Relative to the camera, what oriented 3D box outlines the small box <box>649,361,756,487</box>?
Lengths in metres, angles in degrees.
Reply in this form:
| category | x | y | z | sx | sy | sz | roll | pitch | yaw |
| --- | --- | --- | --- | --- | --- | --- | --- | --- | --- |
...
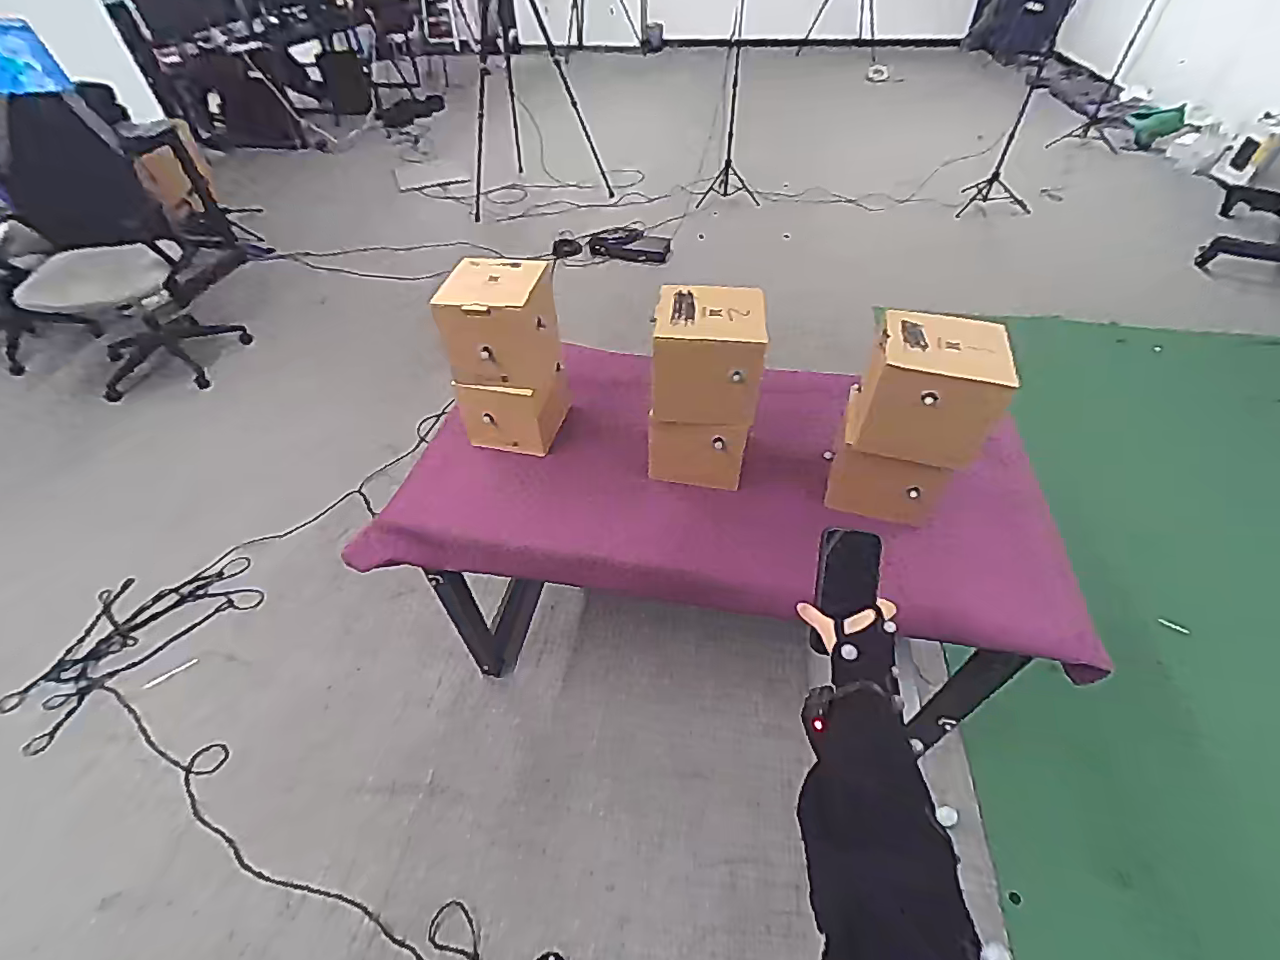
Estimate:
| category | x | y | z | sx | sy | sz | roll | pitch | yaw |
| --- | --- | --- | --- | --- | --- | --- | --- | --- | --- |
| small box | 0.119 | -0.106 | 1.050 | 0.179 | 0.176 | 0.168 | 9 | 48 | 10 |

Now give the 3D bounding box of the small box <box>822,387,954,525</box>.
| category | x | y | z | sx | sy | sz | roll | pitch | yaw |
| --- | --- | --- | --- | --- | --- | --- | --- | --- | --- |
| small box | 0.447 | -0.041 | 0.985 | 0.179 | 0.176 | 0.168 | 14 | 49 | 14 |

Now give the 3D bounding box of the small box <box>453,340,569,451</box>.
| category | x | y | z | sx | sy | sz | roll | pitch | yaw |
| --- | --- | --- | --- | --- | --- | --- | --- | --- | --- |
| small box | -0.256 | -0.182 | 1.129 | 0.168 | 0.176 | 0.179 | 10 | 48 | 10 |

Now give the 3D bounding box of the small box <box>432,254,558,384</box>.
| category | x | y | z | sx | sy | sz | roll | pitch | yaw |
| --- | --- | --- | --- | --- | --- | --- | --- | --- | --- |
| small box | -0.257 | -0.300 | 1.014 | 0.168 | 0.176 | 0.179 | 6 | 48 | 6 |

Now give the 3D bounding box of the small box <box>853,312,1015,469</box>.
| category | x | y | z | sx | sy | sz | roll | pitch | yaw |
| --- | --- | --- | --- | --- | --- | --- | --- | --- | --- |
| small box | 0.449 | -0.139 | 0.853 | 0.179 | 0.176 | 0.168 | 14 | 49 | 13 |
